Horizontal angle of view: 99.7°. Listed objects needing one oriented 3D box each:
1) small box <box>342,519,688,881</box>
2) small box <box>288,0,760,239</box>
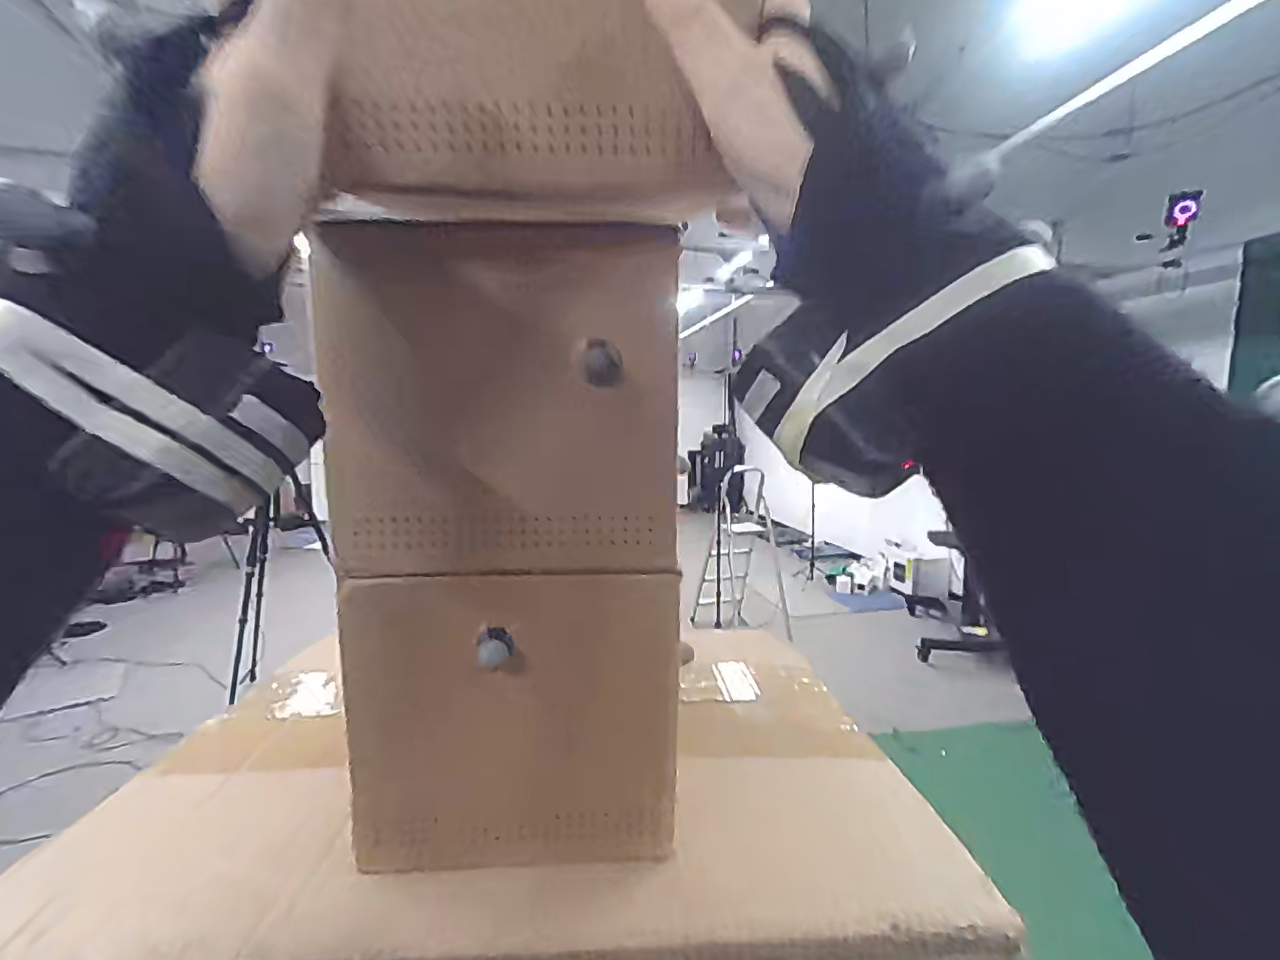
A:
[{"bbox_3d":[-0.066,0.127,0.362,0.179,0.176,0.168,-1,8,-3],"label":"small box"},{"bbox_3d":[-0.046,-0.211,0.262,0.179,0.176,0.168,-3,21,-7],"label":"small box"}]
